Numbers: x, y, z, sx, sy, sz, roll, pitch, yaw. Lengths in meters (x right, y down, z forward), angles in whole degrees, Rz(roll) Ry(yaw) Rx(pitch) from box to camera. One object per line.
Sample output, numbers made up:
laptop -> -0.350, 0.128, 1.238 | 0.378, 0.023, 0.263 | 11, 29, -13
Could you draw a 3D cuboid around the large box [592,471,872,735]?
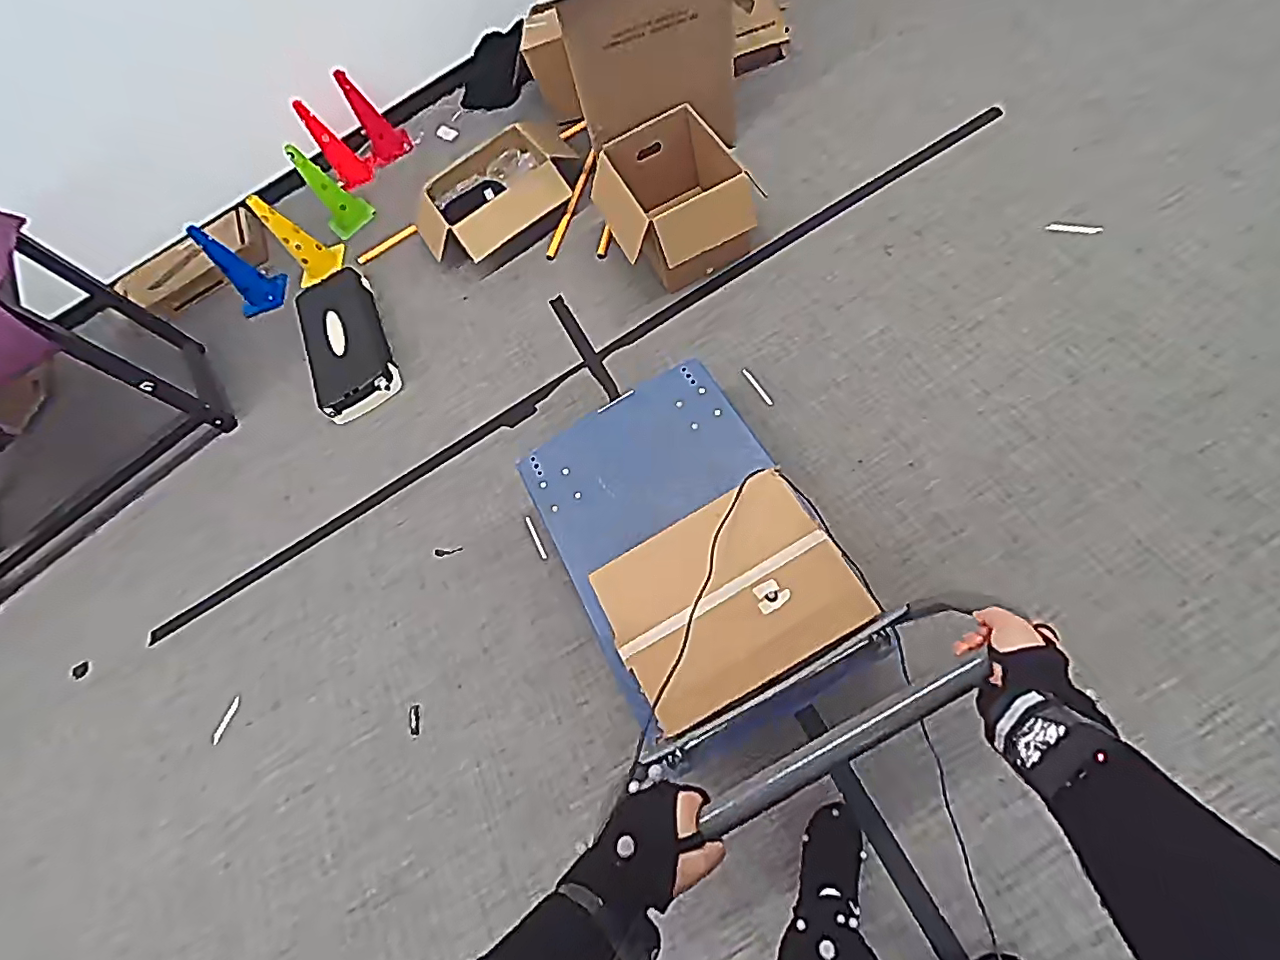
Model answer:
large box -> 0.177, 0.257, 1.083 | 0.408, 0.320, 0.320 | -31, 66, -1
